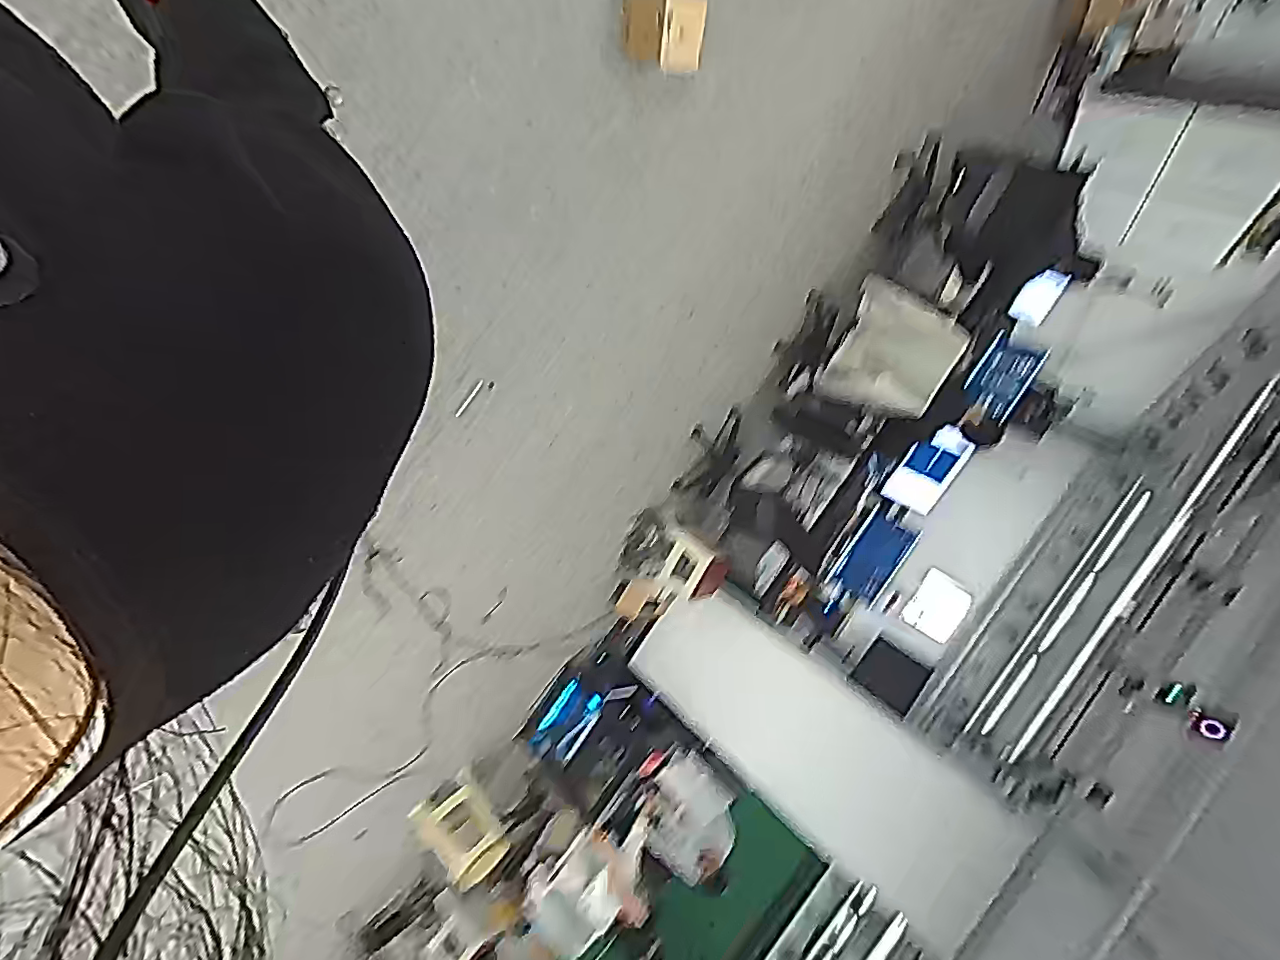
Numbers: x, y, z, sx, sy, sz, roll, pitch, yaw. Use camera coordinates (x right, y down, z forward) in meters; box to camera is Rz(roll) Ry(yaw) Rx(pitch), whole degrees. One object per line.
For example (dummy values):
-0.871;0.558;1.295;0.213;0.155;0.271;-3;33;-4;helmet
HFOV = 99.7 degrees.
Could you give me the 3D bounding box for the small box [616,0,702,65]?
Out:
0.055;-1.347;1.596;0.179;0.176;0.168;-29;142;-38;small box
